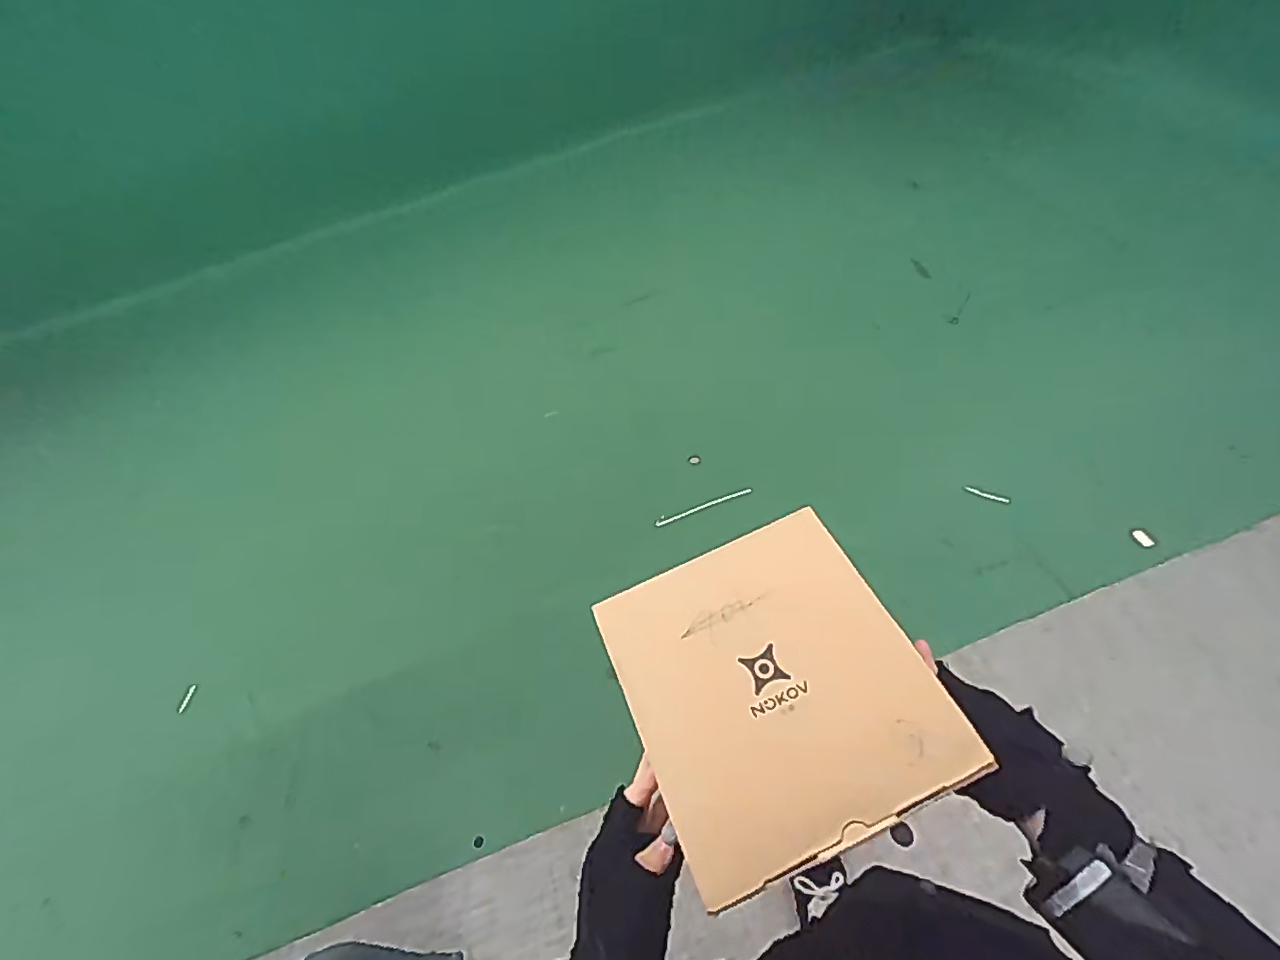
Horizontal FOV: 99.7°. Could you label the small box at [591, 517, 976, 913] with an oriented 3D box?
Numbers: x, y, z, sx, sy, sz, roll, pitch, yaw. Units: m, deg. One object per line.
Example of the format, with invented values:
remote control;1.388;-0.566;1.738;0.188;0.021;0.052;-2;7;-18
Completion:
small box;0.085;0.163;0.386;0.168;0.176;0.179;-23;55;-5
